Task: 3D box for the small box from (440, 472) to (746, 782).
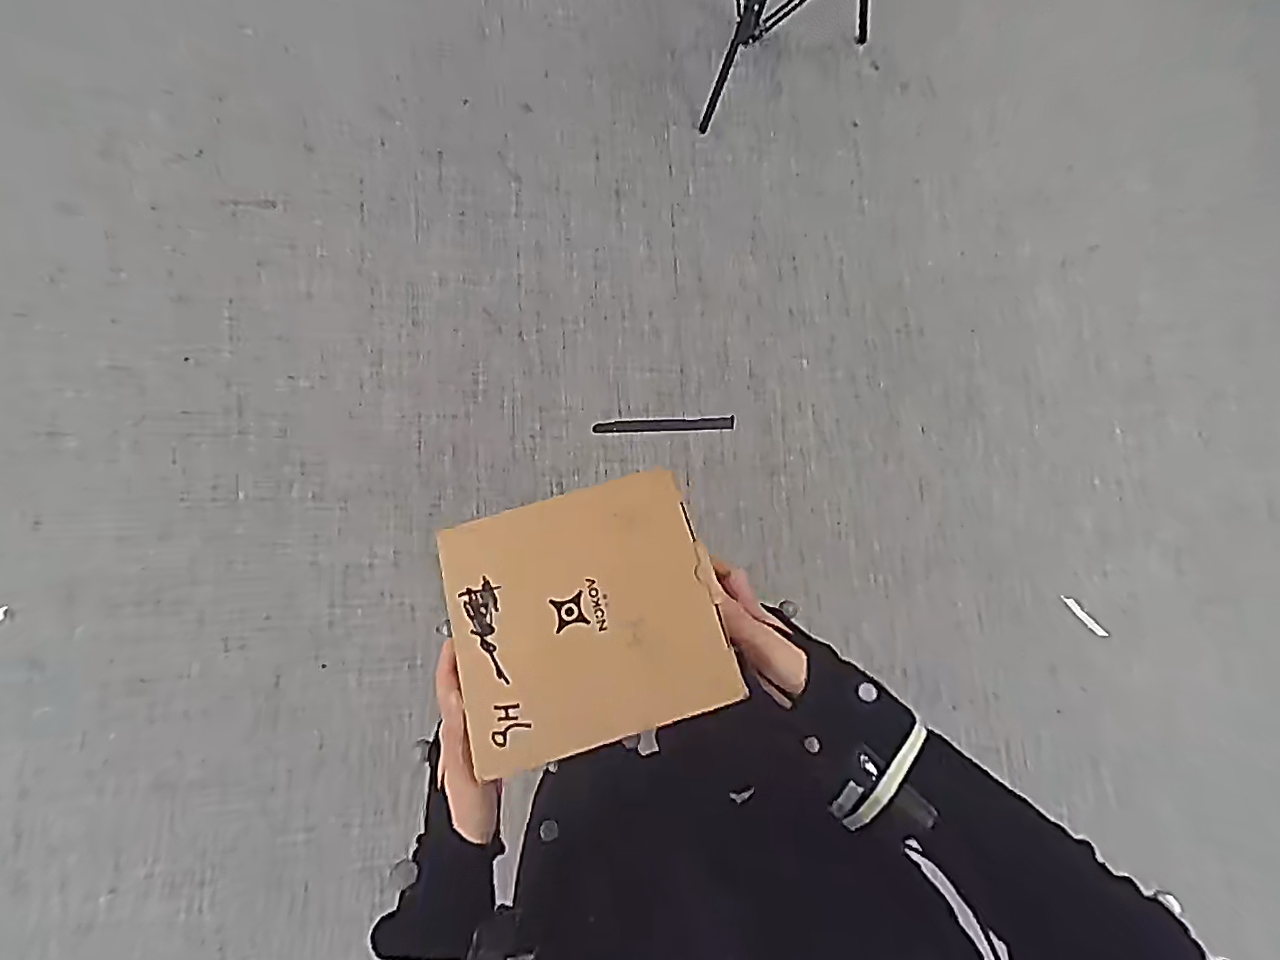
[{"bbox_3d":[-0.036,0.116,0.433,0.179,0.176,0.168,-16,68,-5],"label":"small box"}]
